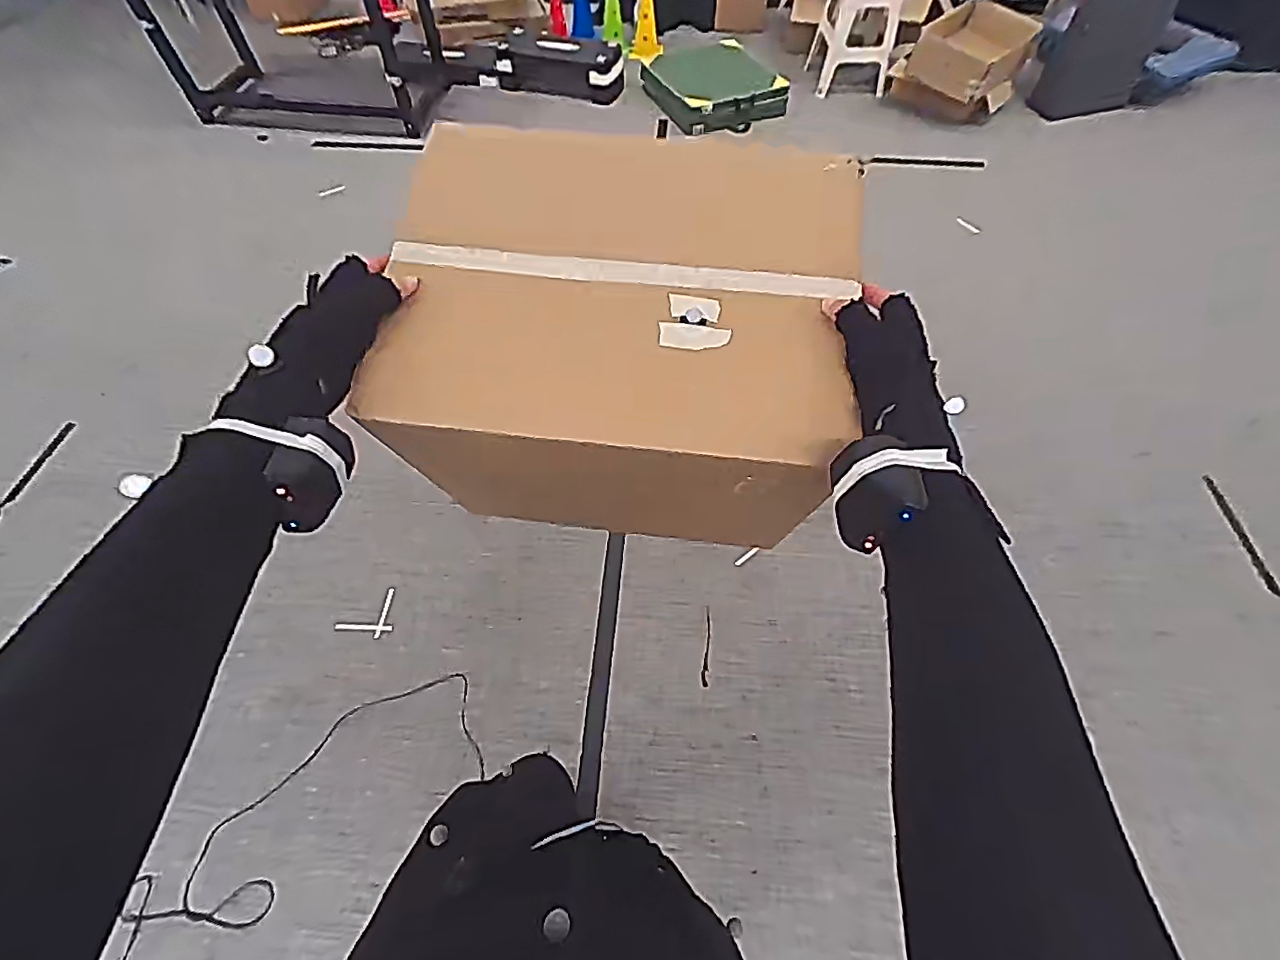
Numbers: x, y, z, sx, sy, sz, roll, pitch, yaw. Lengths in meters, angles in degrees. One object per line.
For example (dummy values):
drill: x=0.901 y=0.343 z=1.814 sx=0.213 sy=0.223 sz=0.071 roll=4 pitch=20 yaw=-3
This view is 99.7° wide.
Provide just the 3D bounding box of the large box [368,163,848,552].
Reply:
large box: x=-0.016 y=-0.111 z=0.627 sx=0.408 sy=0.320 sz=0.320 roll=6 pitch=72 yaw=3
